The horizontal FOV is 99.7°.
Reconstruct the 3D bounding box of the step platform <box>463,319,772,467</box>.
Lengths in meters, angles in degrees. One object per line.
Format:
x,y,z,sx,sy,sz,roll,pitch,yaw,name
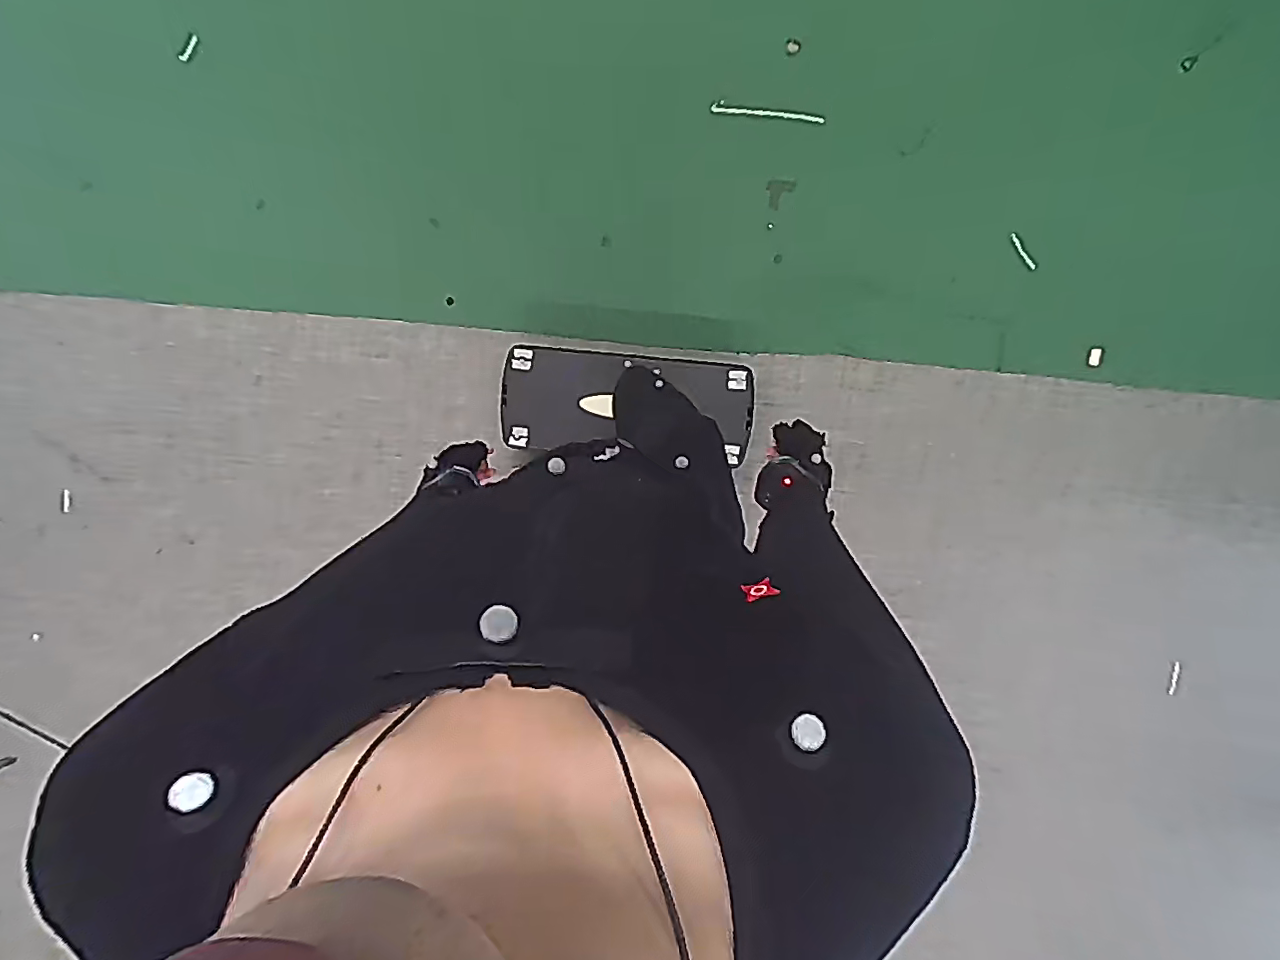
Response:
-0.050,-0.201,1.284,0.684,0.204,0.286,4,97,0,step platform
